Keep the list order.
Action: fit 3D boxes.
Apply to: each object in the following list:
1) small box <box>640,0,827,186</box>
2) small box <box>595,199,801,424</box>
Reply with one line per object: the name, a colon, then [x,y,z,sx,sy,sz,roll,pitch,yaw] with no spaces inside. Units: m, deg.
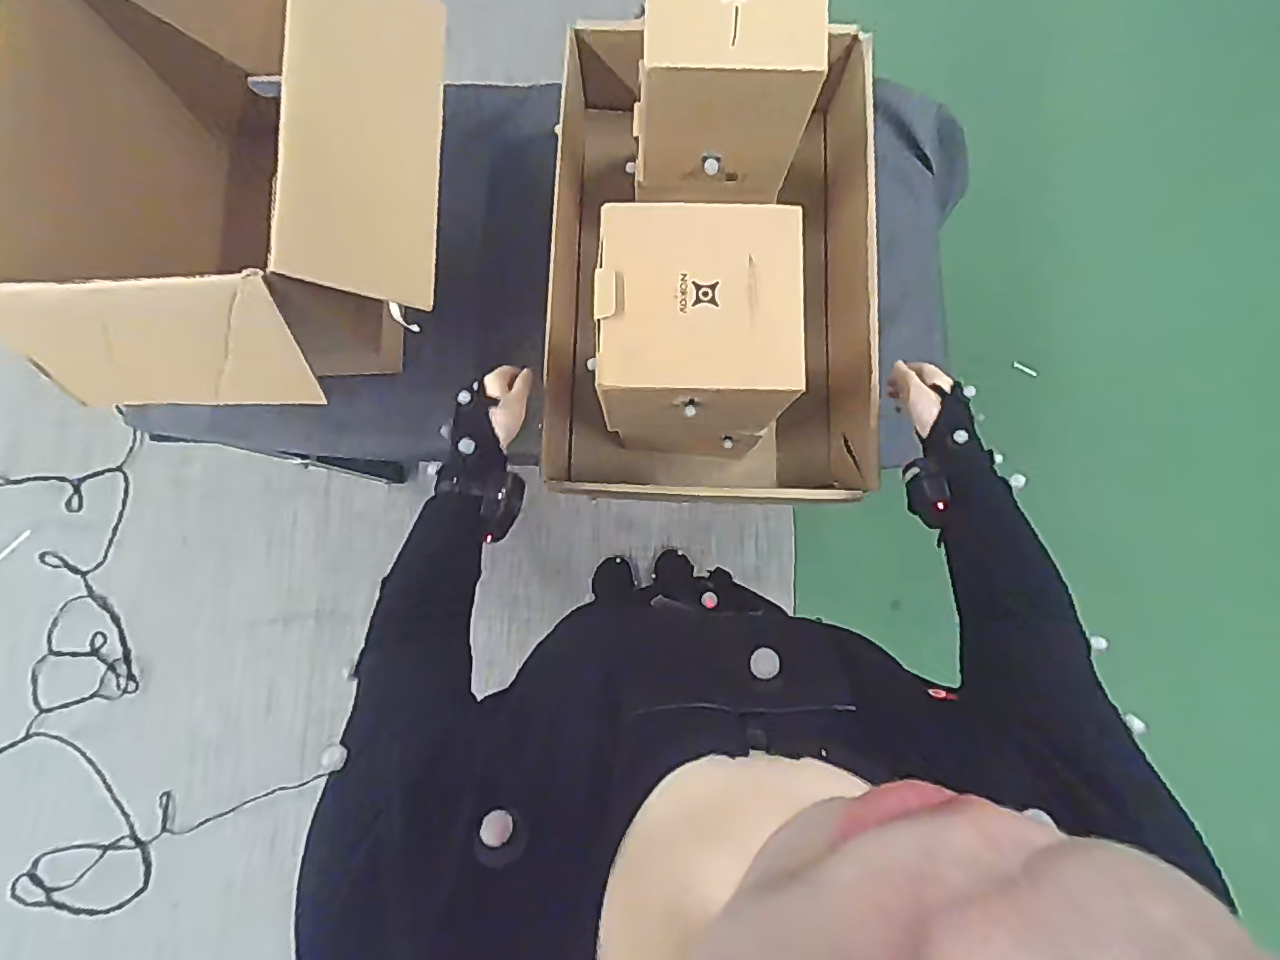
small box: [0.086,-0.444,0.566,0.168,0.176,0.179,2,85,0]
small box: [0.051,-0.152,0.540,0.179,0.176,0.168,1,84,0]
